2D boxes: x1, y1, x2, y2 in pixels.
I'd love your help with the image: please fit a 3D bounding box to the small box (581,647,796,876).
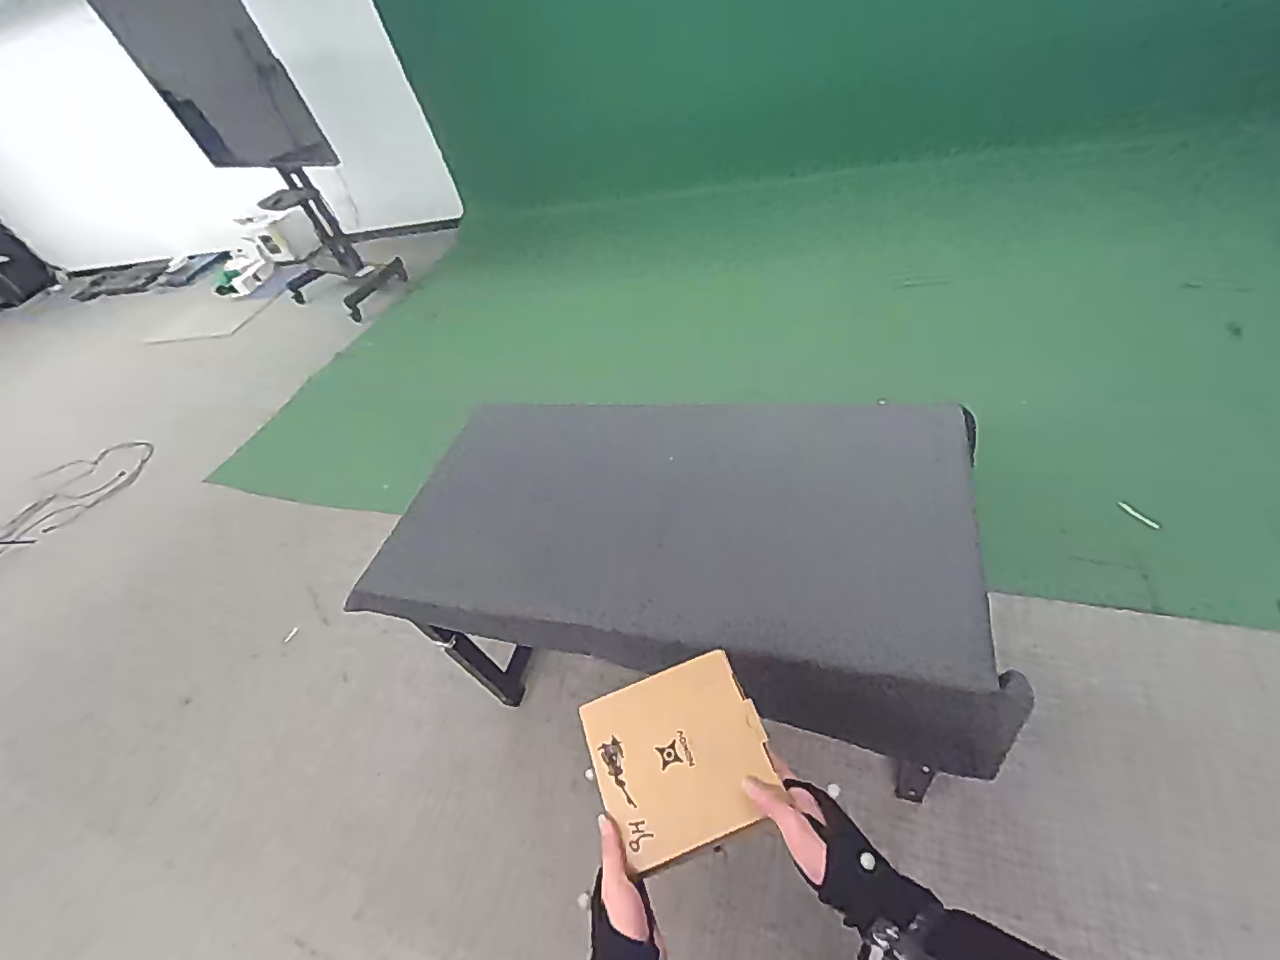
[{"bbox_3d":[0.050,0.317,0.606,0.179,0.176,0.168,-19,52,-5],"label":"small box"}]
